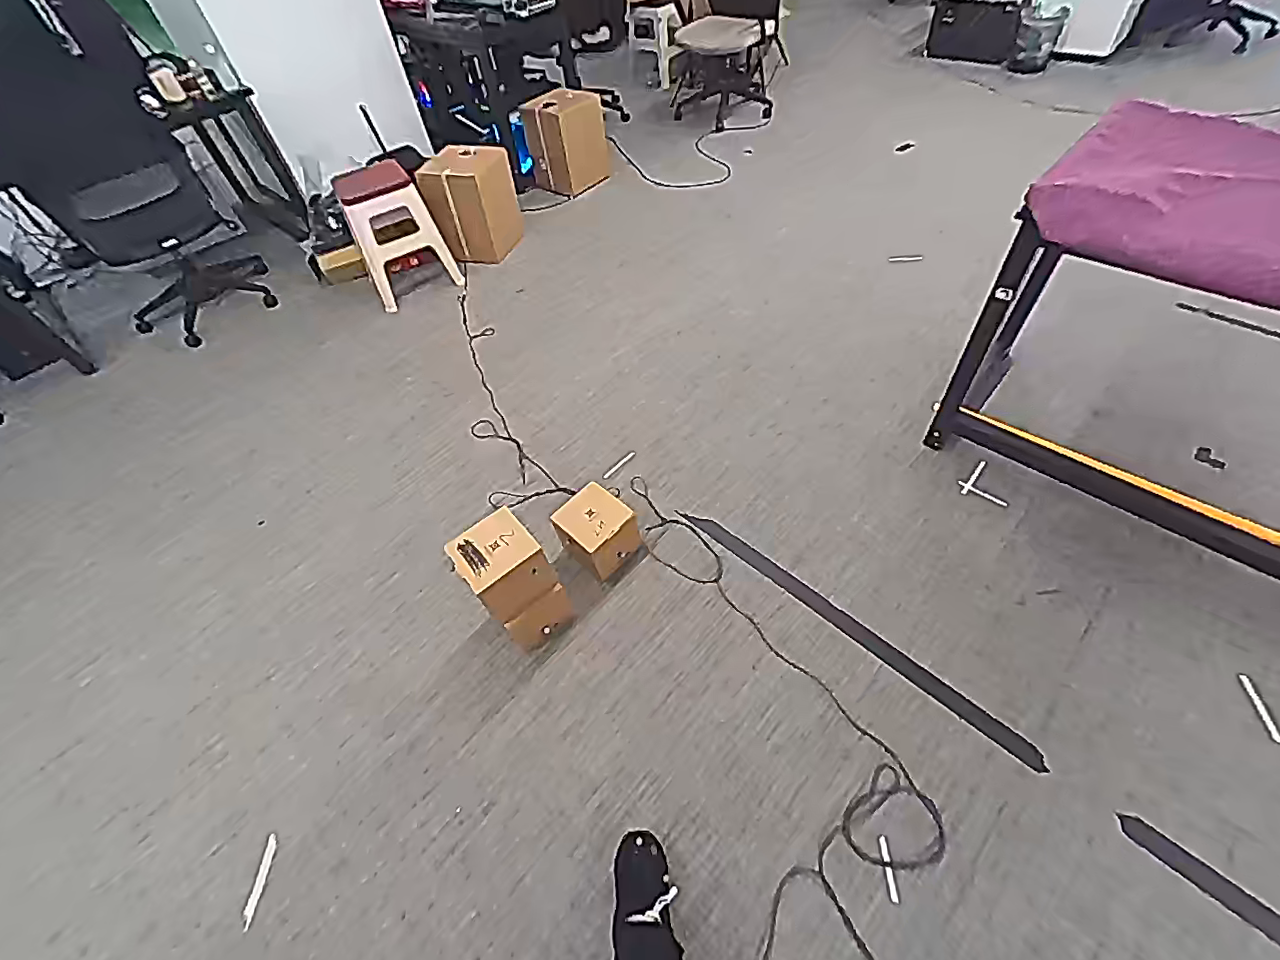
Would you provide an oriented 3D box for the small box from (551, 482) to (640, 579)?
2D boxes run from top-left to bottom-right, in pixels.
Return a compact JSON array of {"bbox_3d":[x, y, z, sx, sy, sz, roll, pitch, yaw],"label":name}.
[{"bbox_3d":[-0.119,0.146,1.520,0.179,0.176,0.168,36,66,29],"label":"small box"}]

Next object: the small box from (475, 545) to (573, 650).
[{"bbox_3d":[-0.298,0.311,1.414,0.168,0.176,0.179,-36,58,-19],"label":"small box"}]
